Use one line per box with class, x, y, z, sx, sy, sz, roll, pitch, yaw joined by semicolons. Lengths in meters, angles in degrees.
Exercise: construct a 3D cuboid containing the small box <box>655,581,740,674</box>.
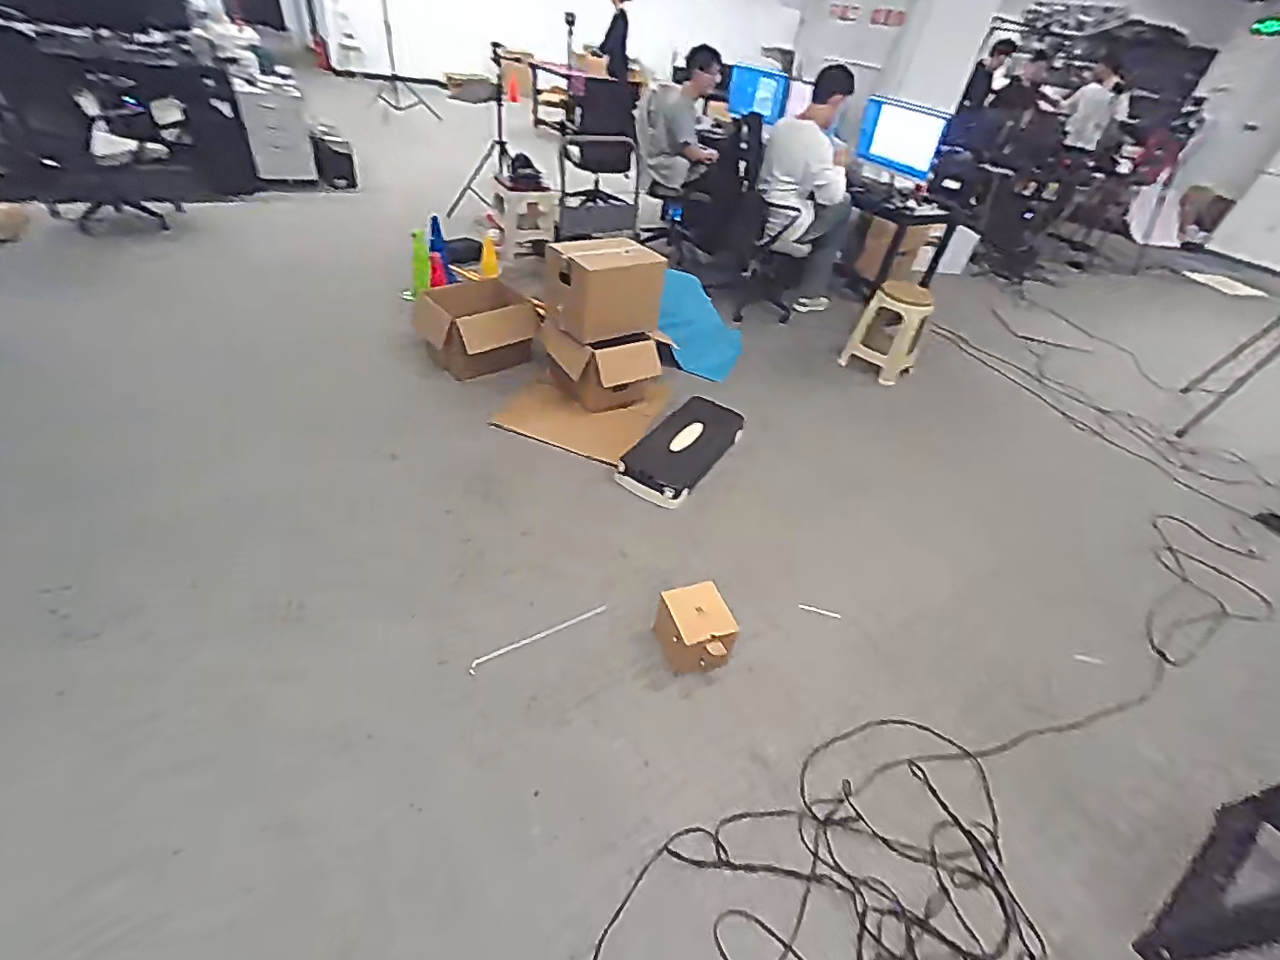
small box;0.155;0.420;1.541;0.168;0.176;0.179;-8;45;-21
